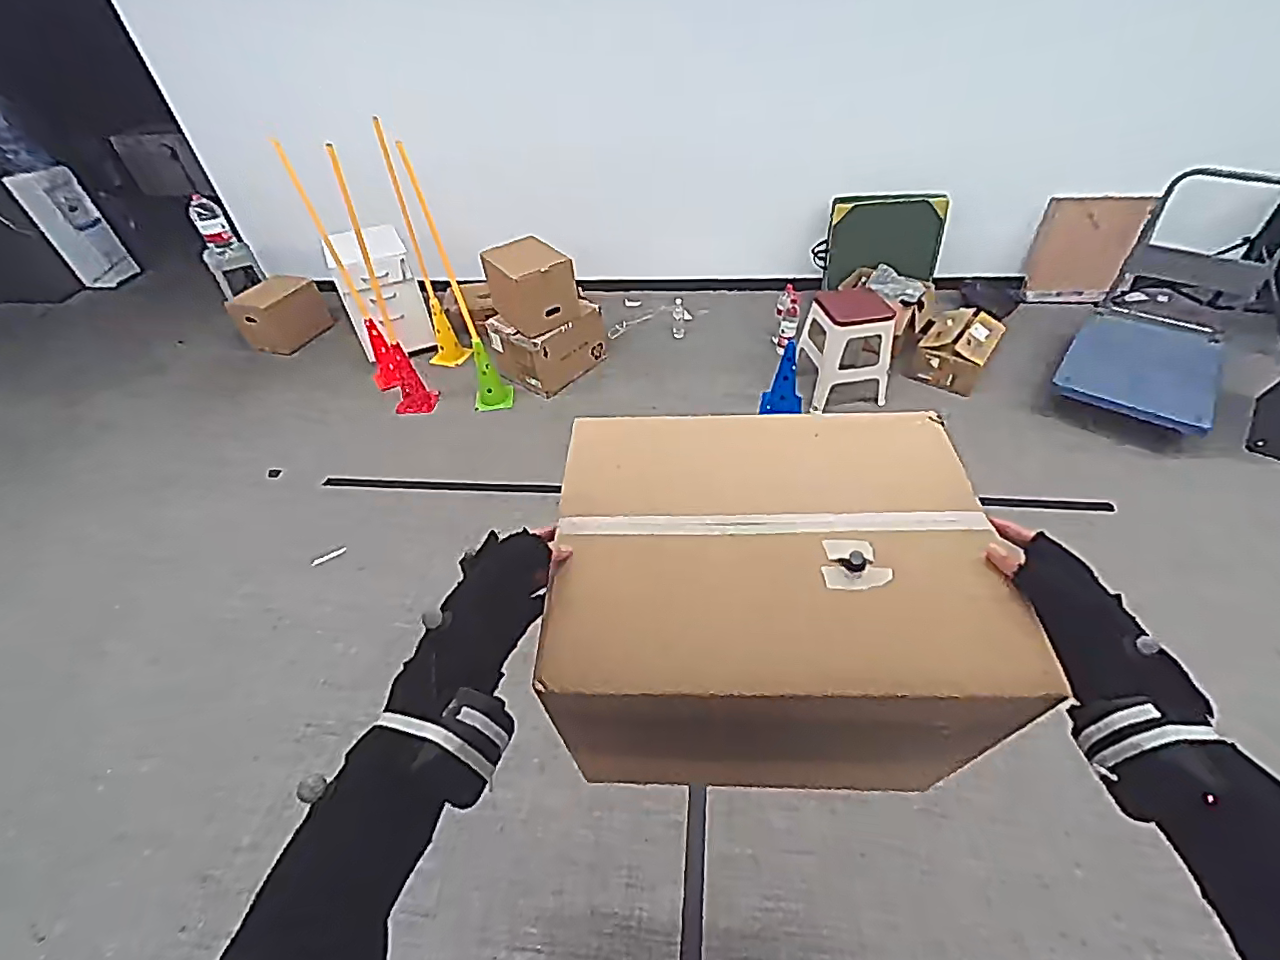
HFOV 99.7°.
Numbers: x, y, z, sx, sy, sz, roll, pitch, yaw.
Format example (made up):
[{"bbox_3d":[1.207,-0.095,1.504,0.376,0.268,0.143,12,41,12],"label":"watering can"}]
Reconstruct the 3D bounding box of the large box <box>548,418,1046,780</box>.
[{"bbox_3d":[0.128,0.146,0.637,0.408,0.320,0.320,-1,50,3],"label":"large box"}]
